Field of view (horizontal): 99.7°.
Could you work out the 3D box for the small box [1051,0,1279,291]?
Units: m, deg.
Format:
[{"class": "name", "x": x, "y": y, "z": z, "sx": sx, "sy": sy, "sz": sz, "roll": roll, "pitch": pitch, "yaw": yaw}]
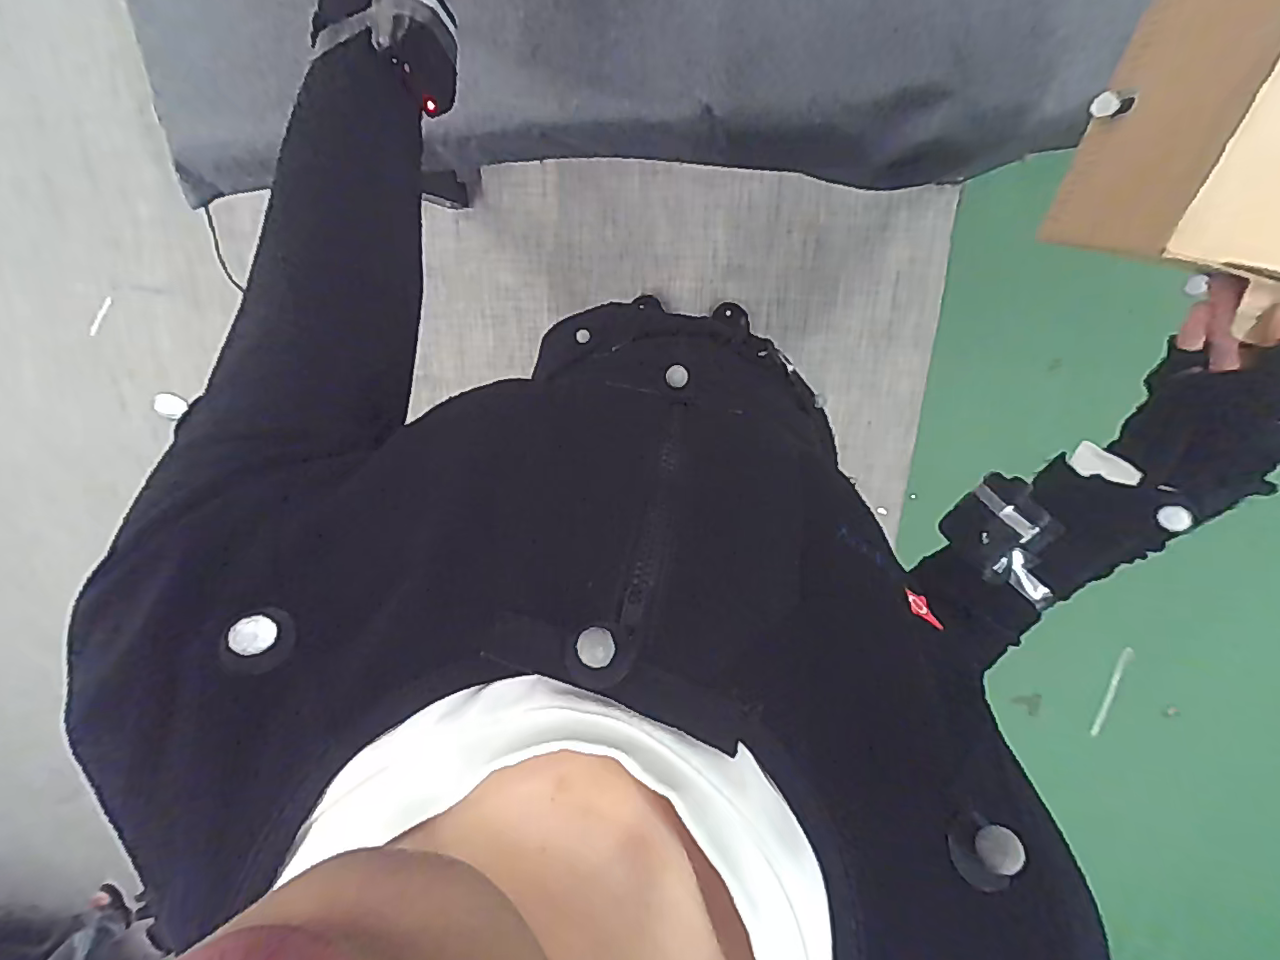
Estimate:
[{"class": "small box", "x": 0.392, "y": -0.212, "z": 0.318, "sx": 0.168, "sy": 0.176, "sz": 0.179, "roll": 14, "pitch": 119, "yaw": 5}]
